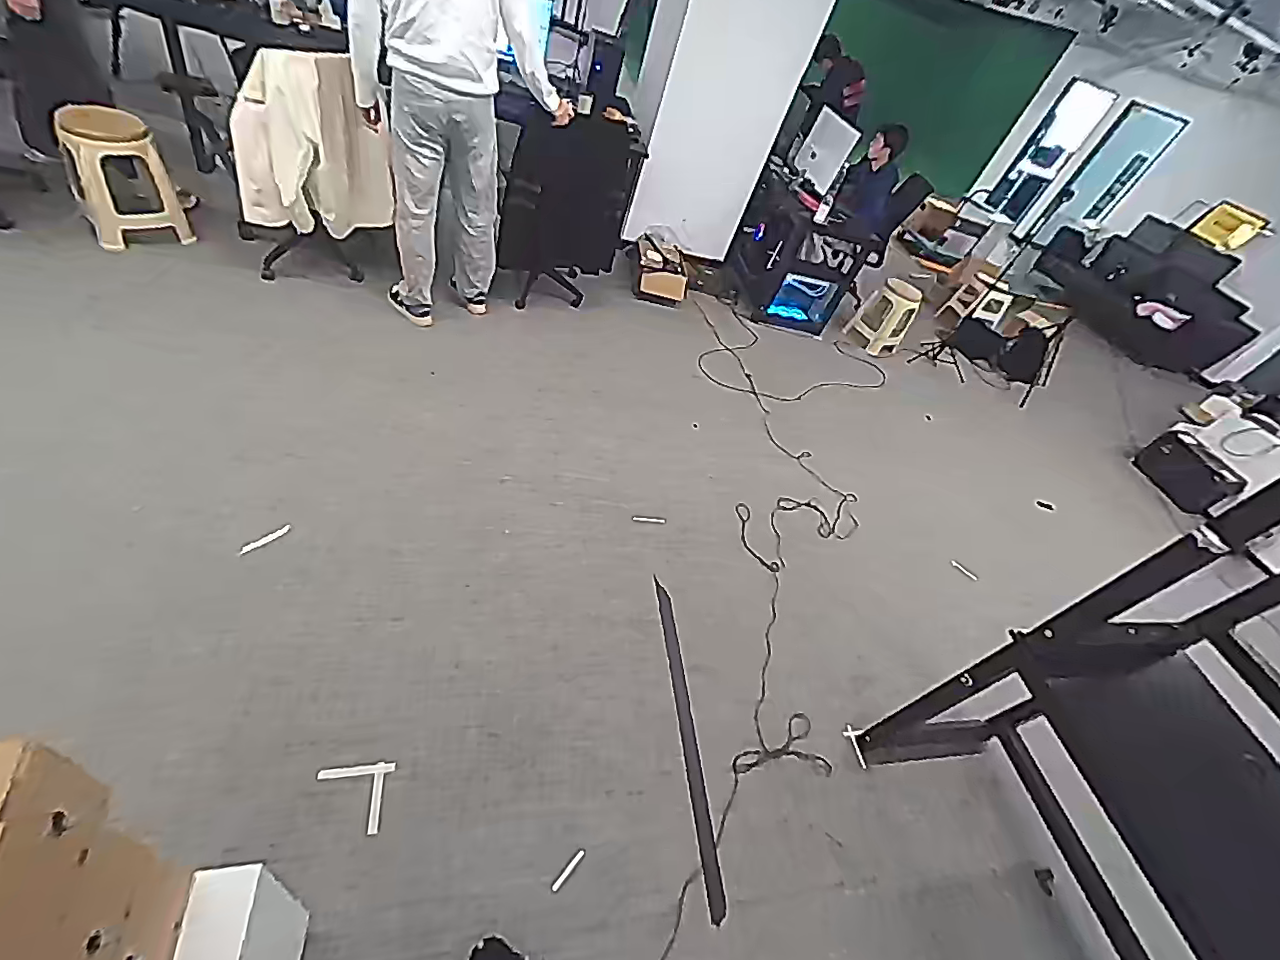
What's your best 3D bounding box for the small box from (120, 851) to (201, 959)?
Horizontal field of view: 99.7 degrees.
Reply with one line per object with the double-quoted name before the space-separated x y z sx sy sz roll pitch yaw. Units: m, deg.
"small box" -0.637 0.535 0.598 0.179 0.176 0.168 3 48 -19
